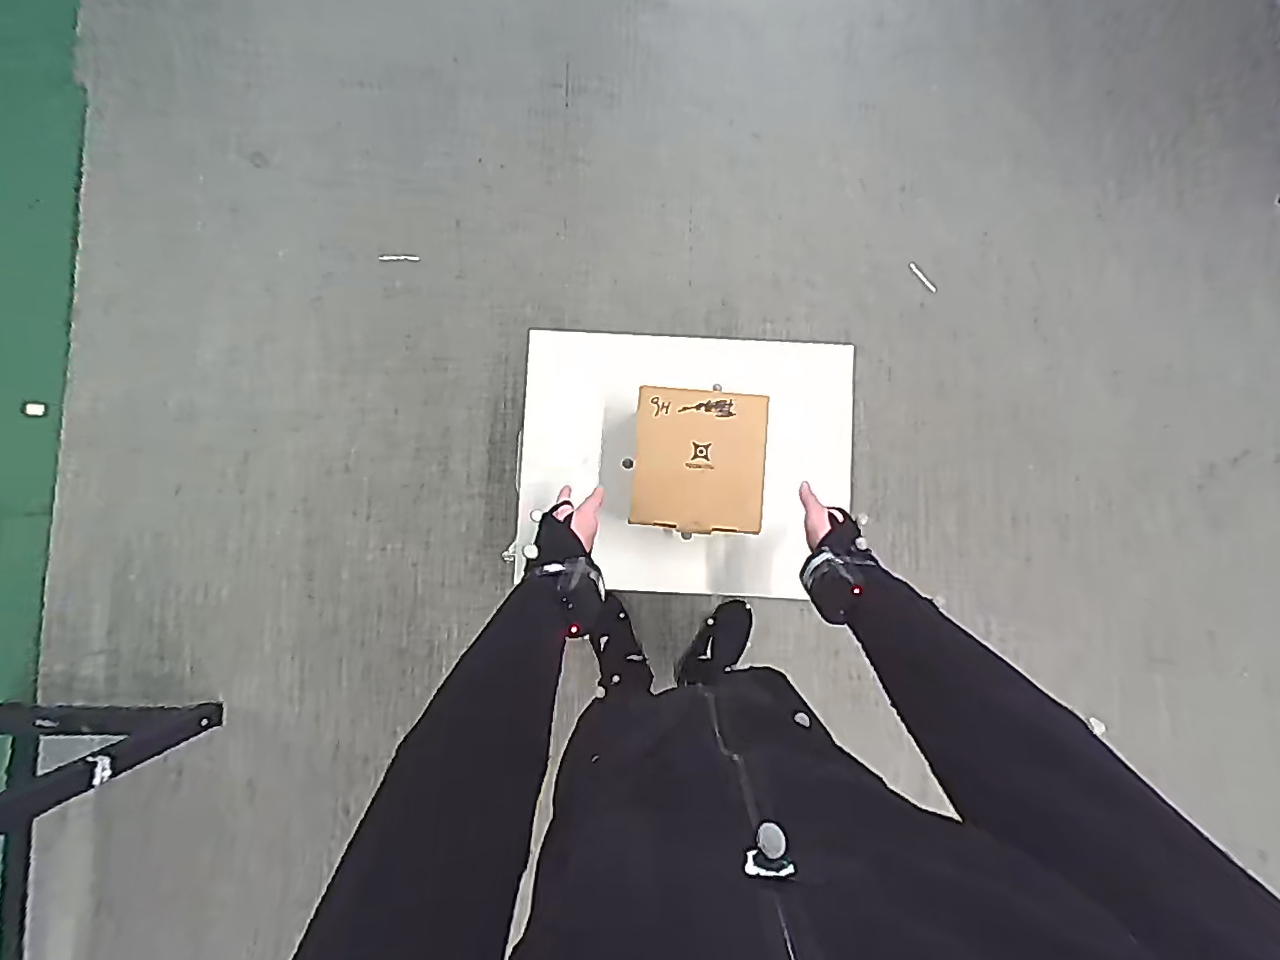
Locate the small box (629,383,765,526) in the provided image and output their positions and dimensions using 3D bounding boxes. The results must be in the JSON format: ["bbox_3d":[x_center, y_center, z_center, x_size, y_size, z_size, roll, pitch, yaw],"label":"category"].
[{"bbox_3d":[0.074,-0.028,0.759,0.168,0.176,0.179,3,85,1],"label":"small box"}]
